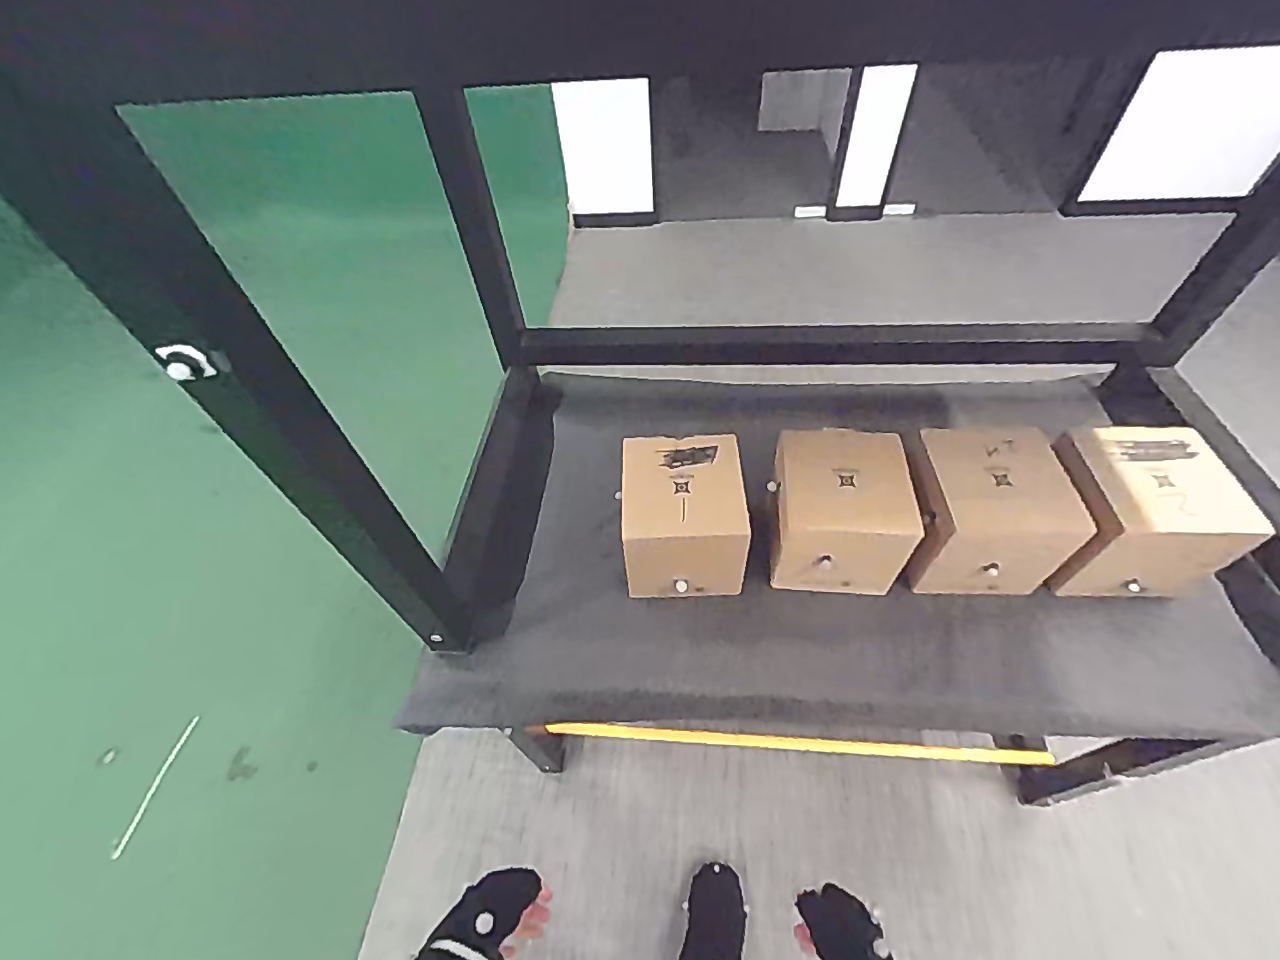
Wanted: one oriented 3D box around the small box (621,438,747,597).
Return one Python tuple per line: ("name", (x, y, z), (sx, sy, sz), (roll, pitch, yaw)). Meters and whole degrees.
("small box", (0.059, 0.058, 0.806), (0.168, 0.176, 0.179), (-3, 51, 2))
